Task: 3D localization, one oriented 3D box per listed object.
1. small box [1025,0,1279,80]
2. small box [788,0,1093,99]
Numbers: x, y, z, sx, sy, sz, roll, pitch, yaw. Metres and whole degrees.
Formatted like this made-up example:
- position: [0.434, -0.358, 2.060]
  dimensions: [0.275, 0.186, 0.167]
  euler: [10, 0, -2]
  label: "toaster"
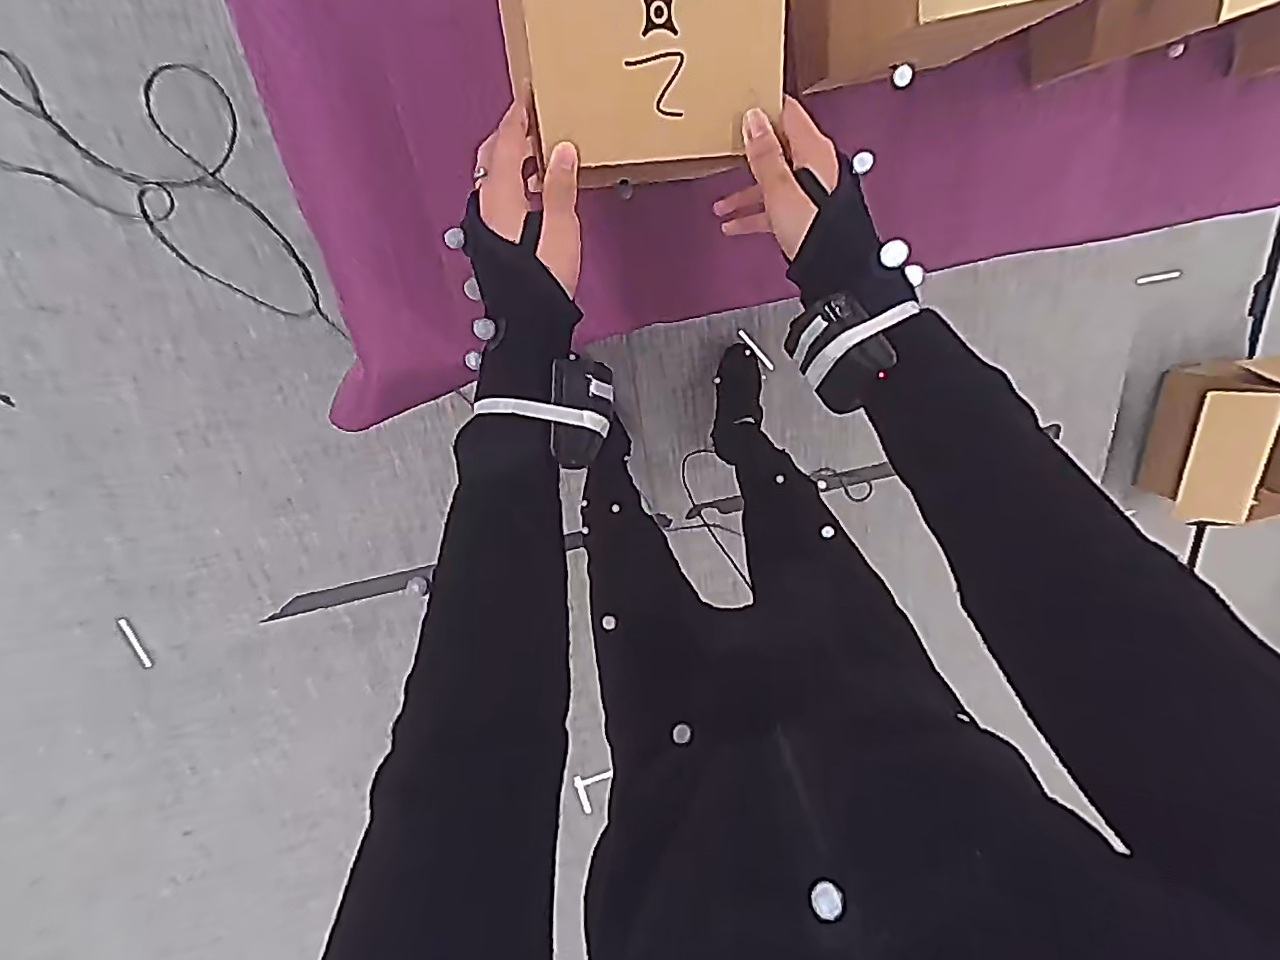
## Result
- position: [0.471, -0.482, 0.469]
  dimensions: [0.168, 0.176, 0.179]
  euler: [-22, 113, -6]
  label: "small box"
- position: [0.225, -0.436, 0.423]
  dimensions: [0.168, 0.176, 0.179]
  euler: [-17, 114, -8]
  label: "small box"
